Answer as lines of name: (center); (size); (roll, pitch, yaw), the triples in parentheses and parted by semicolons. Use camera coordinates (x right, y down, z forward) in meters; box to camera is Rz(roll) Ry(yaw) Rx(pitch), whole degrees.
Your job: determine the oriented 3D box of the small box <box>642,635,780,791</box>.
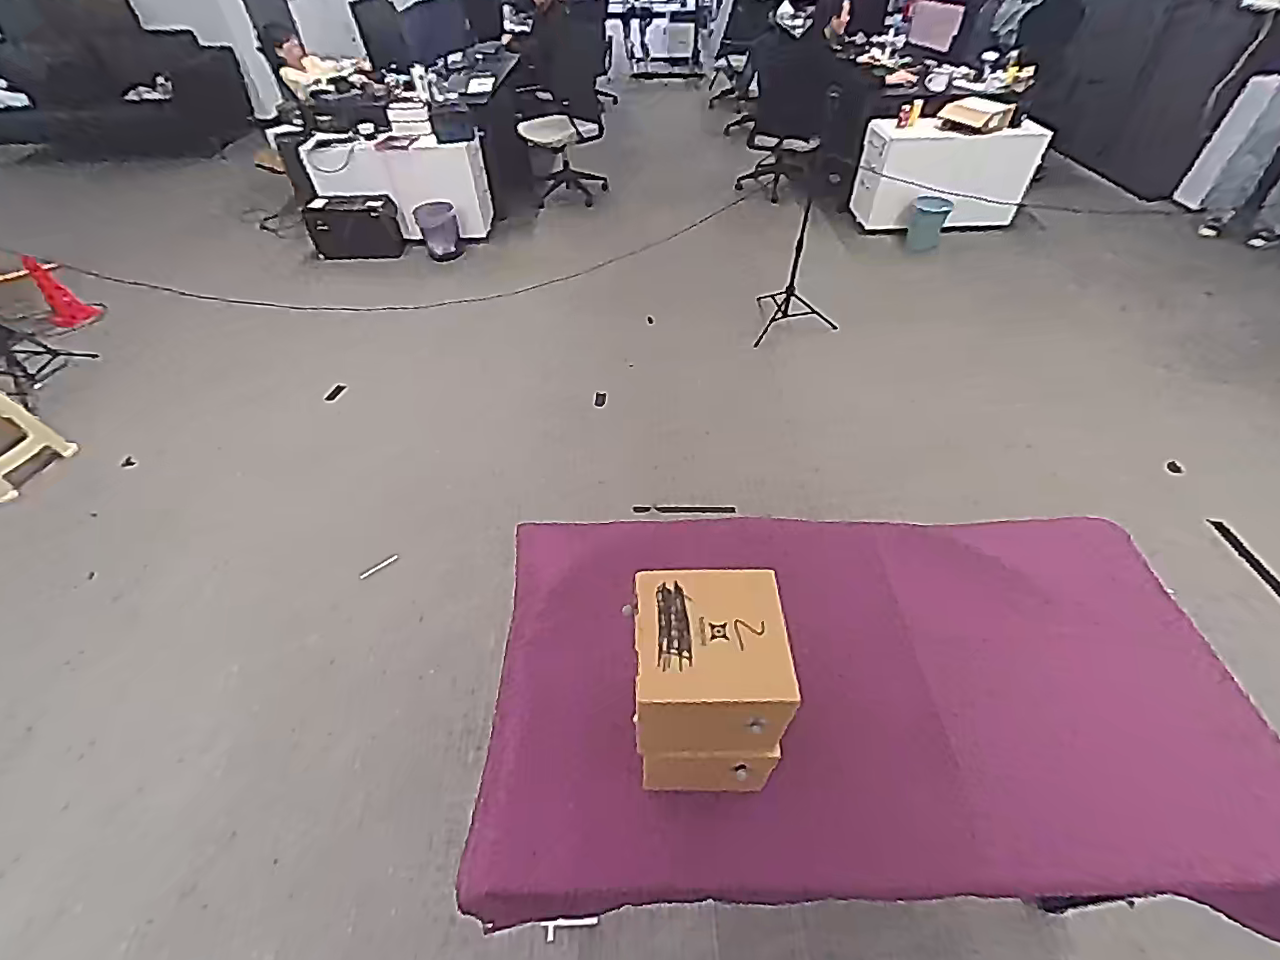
small box: (0.093, 0.343, 0.793); (0.179, 0.176, 0.168); (0, 47, 1)
